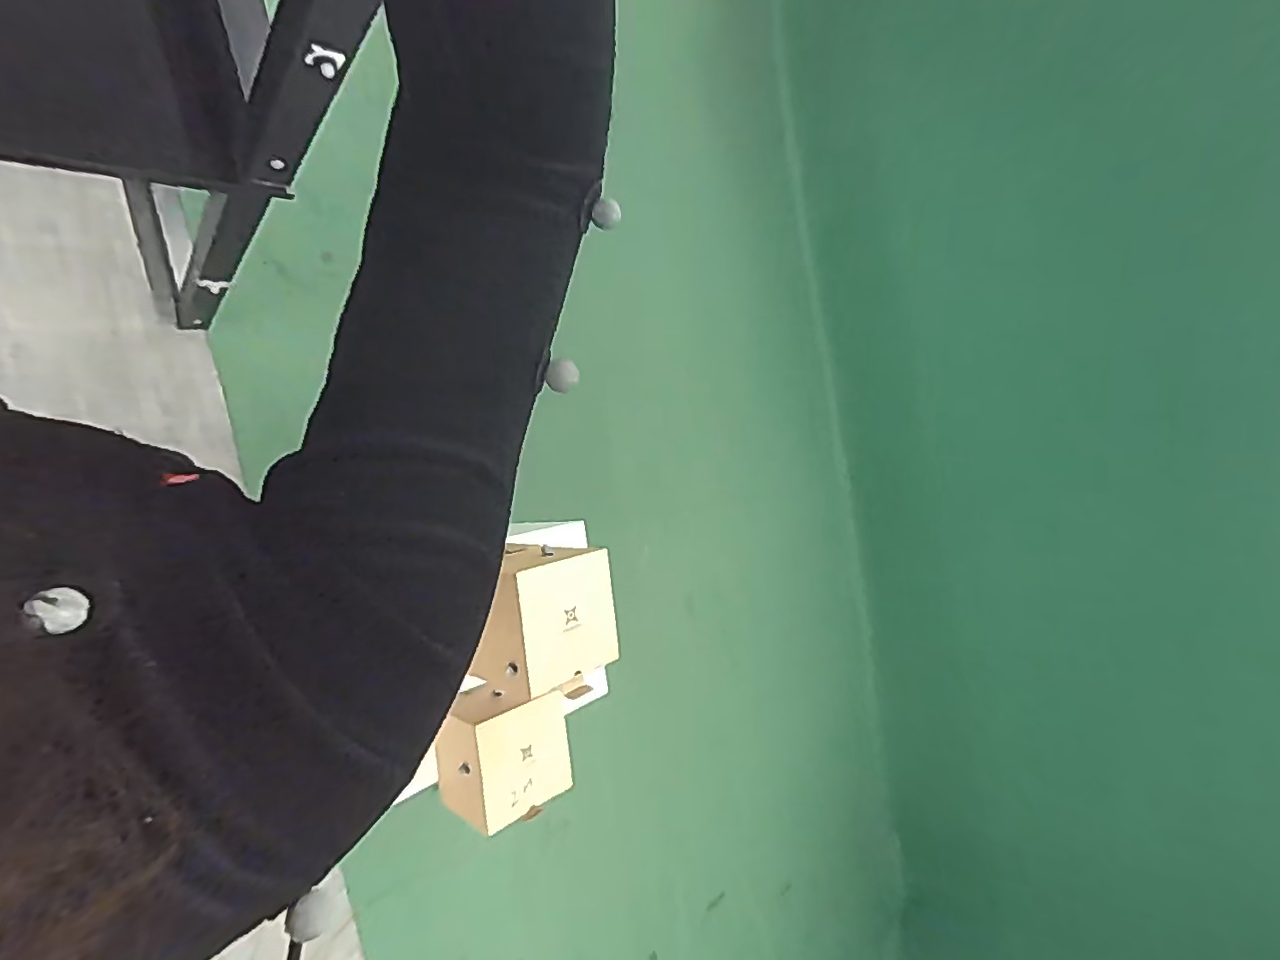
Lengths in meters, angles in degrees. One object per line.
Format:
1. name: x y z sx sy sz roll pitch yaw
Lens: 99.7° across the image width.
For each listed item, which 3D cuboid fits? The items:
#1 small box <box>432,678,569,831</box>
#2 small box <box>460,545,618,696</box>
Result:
1. small box: -0.246 0.455 0.940 0.168 0.176 0.179 -6 90 -44
2. small box: -0.157 0.198 0.824 0.168 0.176 0.179 -10 95 -45
